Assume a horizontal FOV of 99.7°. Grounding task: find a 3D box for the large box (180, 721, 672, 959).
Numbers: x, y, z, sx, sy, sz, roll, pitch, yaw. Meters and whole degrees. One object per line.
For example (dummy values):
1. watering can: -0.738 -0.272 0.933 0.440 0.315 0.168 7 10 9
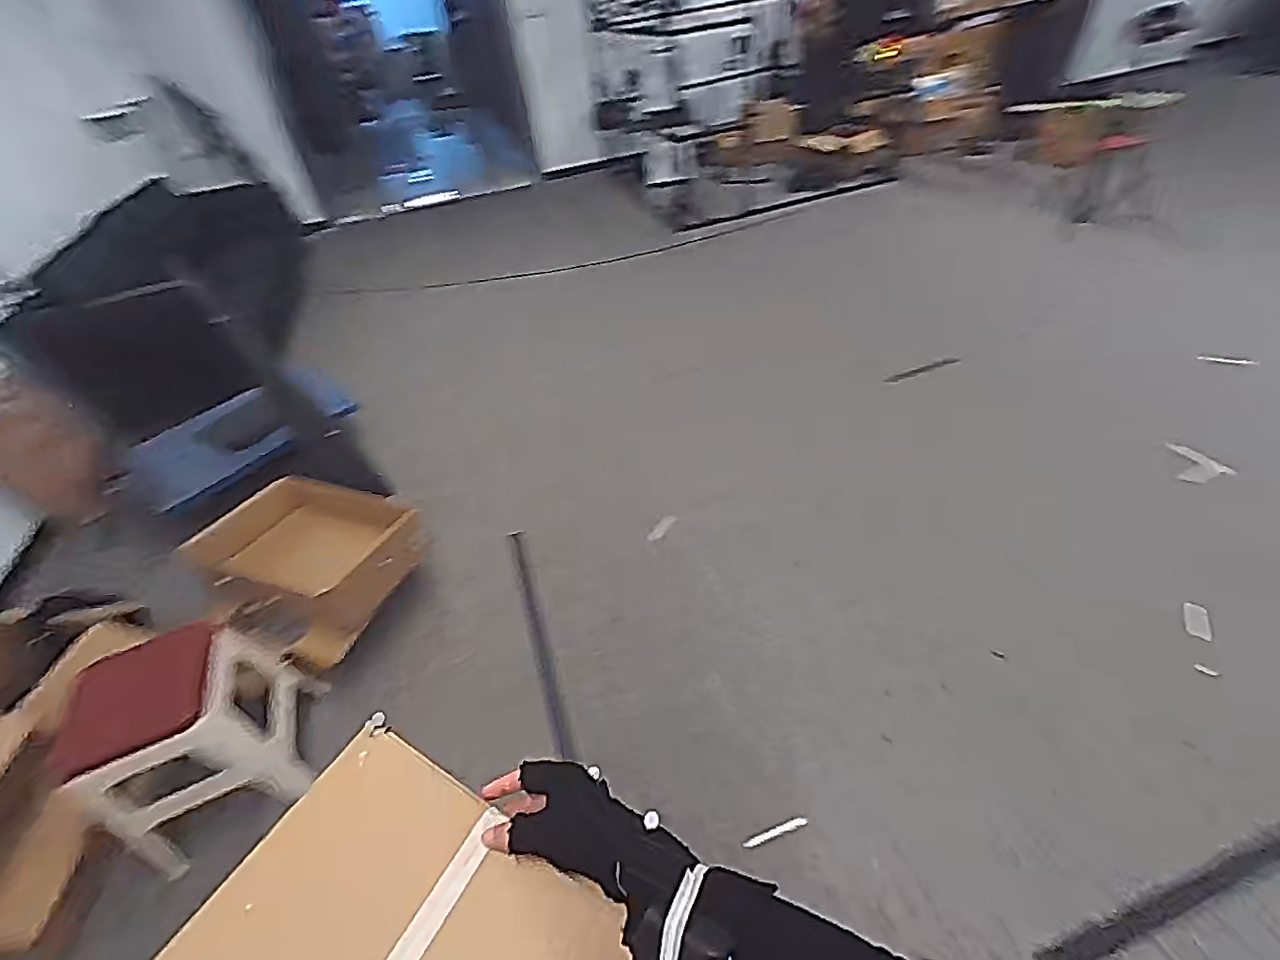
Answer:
1. large box: -0.206 0.511 0.450 0.320 0.320 0.408 24 49 20
